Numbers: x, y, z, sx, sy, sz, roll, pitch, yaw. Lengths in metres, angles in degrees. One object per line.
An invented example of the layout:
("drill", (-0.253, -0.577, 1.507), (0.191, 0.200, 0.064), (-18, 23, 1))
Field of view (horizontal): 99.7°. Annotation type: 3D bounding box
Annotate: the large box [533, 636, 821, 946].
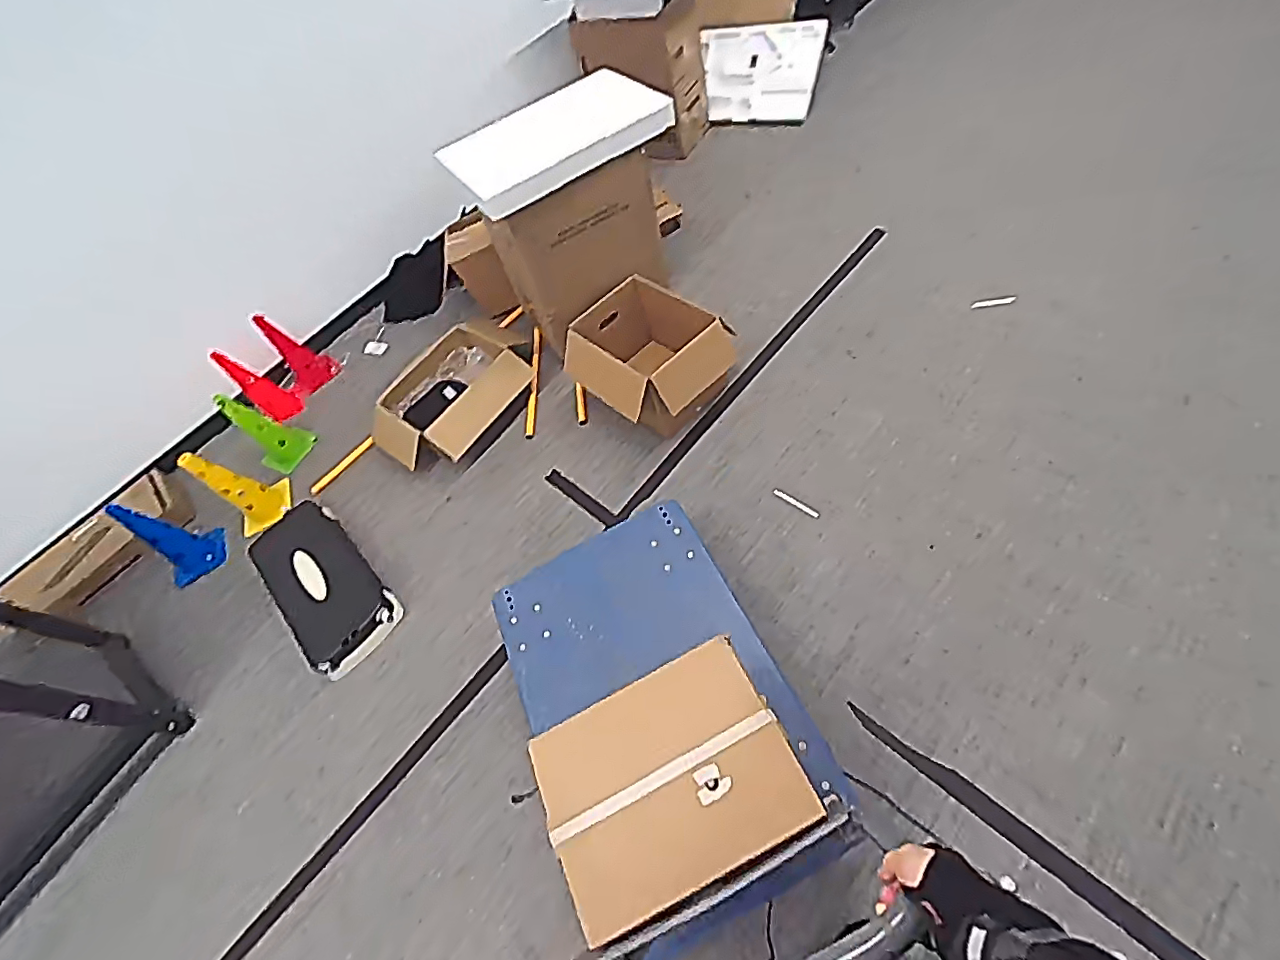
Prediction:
("large box", (0.075, 0.566, 1.014), (0.408, 0.320, 0.320), (-29, 56, -3))
